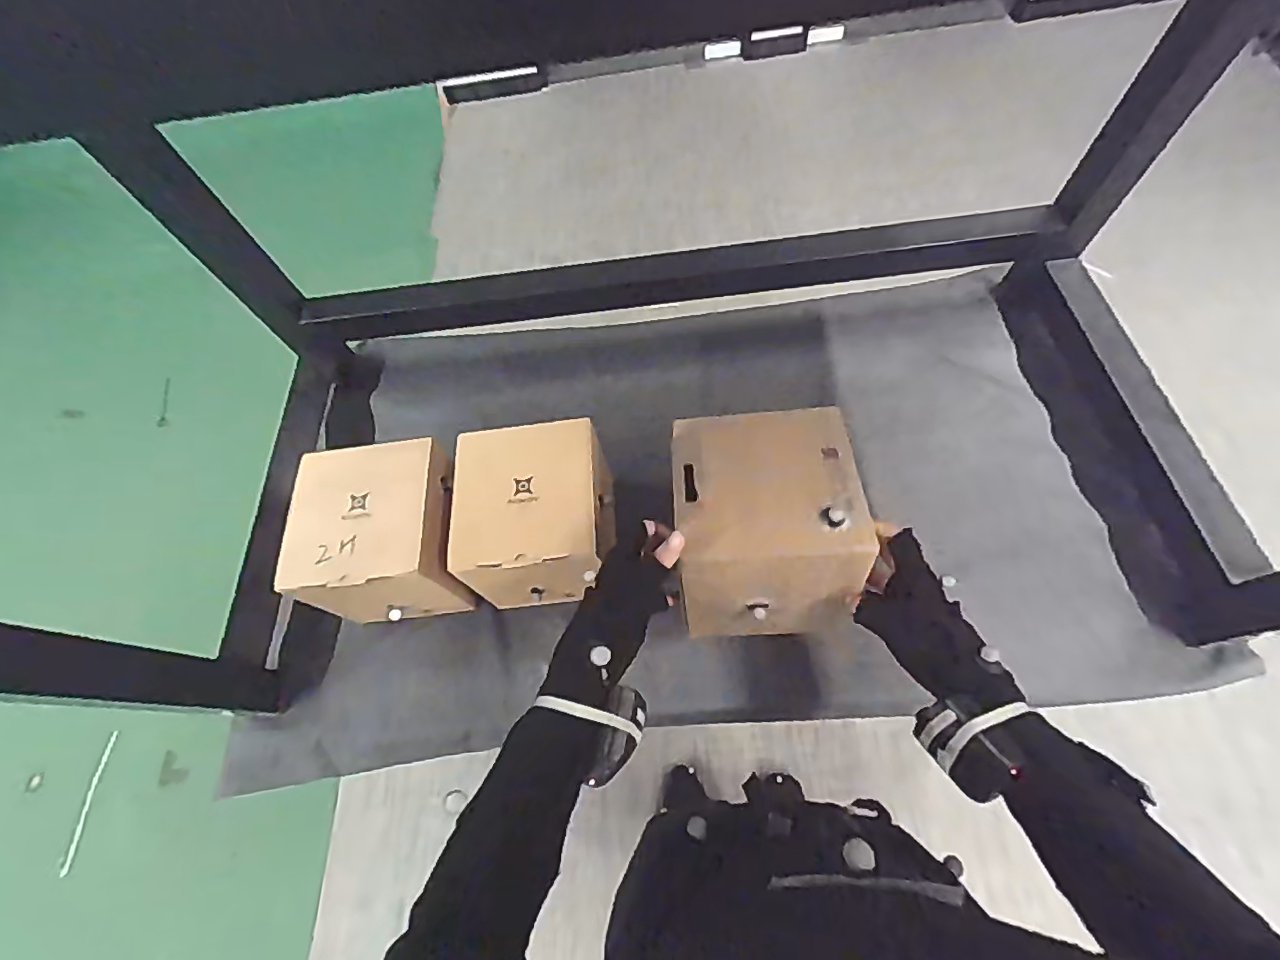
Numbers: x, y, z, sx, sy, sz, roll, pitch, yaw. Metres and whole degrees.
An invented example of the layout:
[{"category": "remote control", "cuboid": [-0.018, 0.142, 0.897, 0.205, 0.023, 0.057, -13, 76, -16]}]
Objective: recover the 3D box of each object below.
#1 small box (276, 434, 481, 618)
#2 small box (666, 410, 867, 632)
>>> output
[{"category": "small box", "cuboid": [-0.314, 0.065, 0.694, 0.168, 0.176, 0.179, -7, 63, 4]}, {"category": "small box", "cuboid": [0.123, 0.045, 0.558, 0.176, 0.179, 0.168, -5, 55, 8]}]
